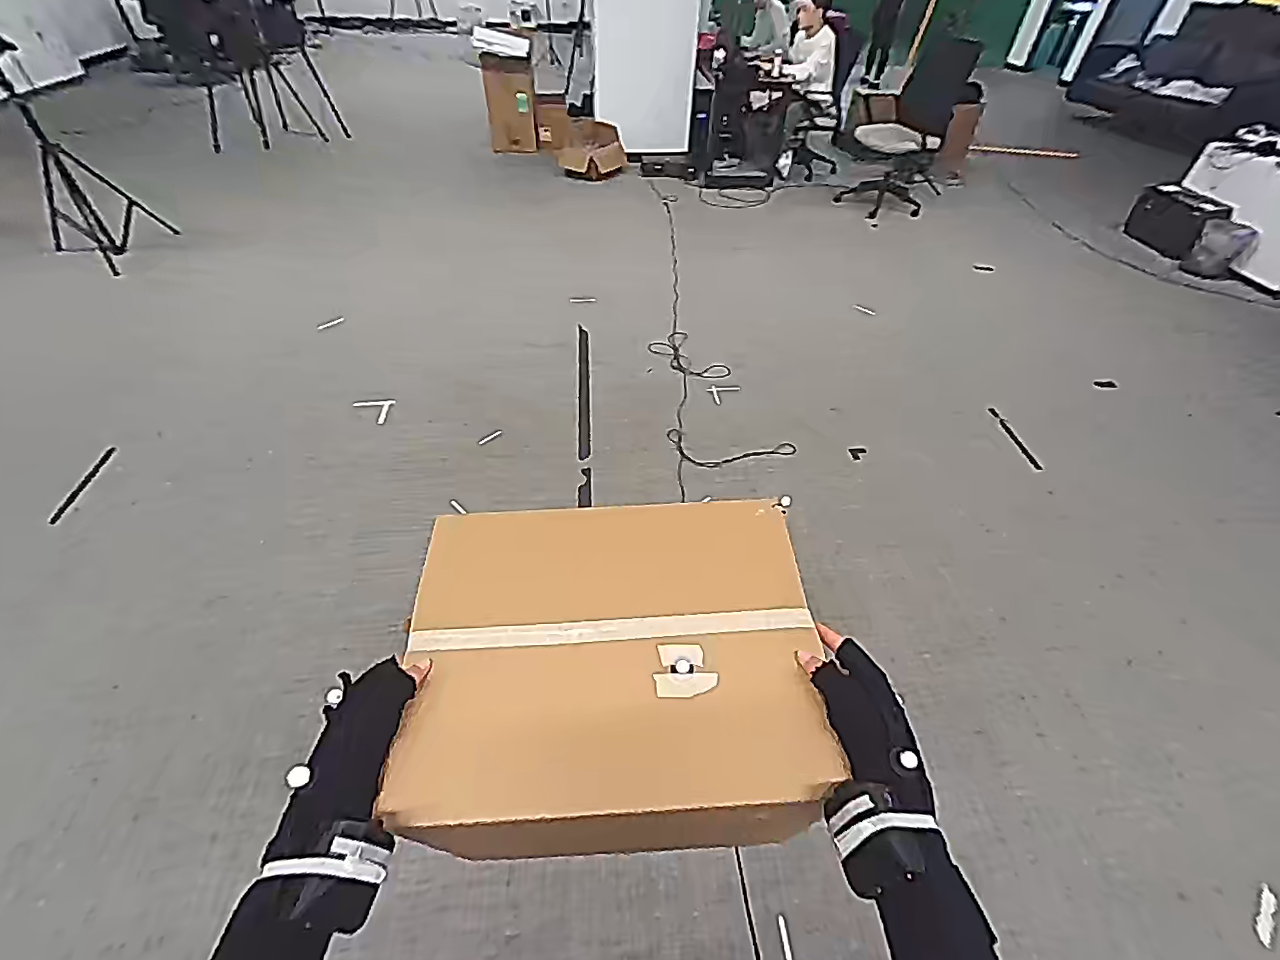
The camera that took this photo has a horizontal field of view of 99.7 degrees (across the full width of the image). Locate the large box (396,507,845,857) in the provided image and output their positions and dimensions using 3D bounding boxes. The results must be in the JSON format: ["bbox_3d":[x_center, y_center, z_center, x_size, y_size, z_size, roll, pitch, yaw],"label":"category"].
[{"bbox_3d":[-0.025,0.256,0.677,0.408,0.320,0.320,-3,51,-2],"label":"large box"}]
